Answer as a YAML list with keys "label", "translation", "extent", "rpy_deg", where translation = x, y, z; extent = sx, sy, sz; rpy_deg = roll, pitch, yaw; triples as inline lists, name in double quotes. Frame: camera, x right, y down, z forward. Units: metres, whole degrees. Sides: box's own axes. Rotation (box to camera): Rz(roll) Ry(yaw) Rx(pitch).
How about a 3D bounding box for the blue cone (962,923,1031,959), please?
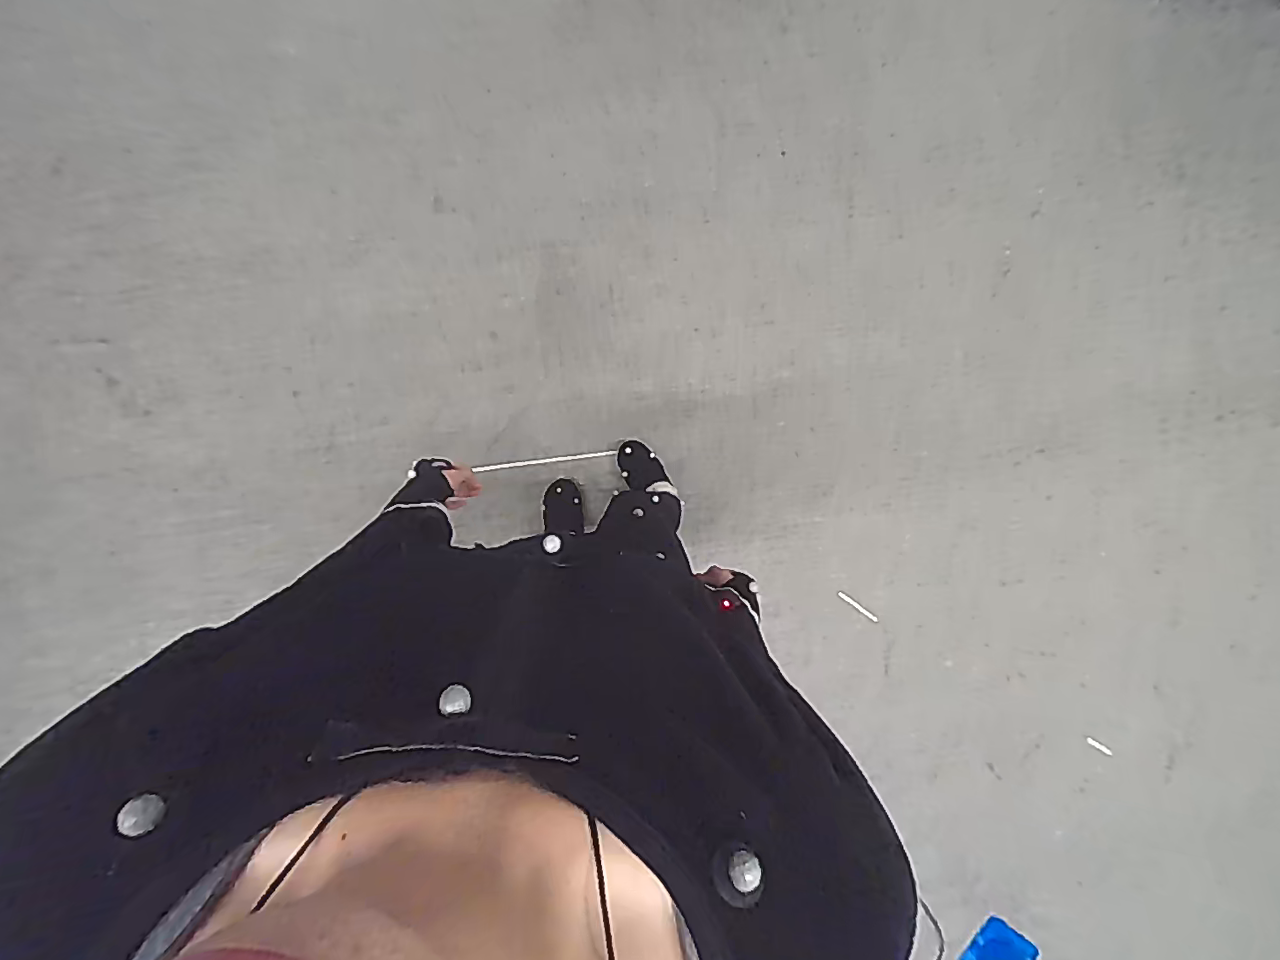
- label: "blue cone"
  translation: [1.081, 1.440, 1.457]
  extent: [0.192, 0.380, 0.193]
  rpy_deg: [37, 86, -4]
